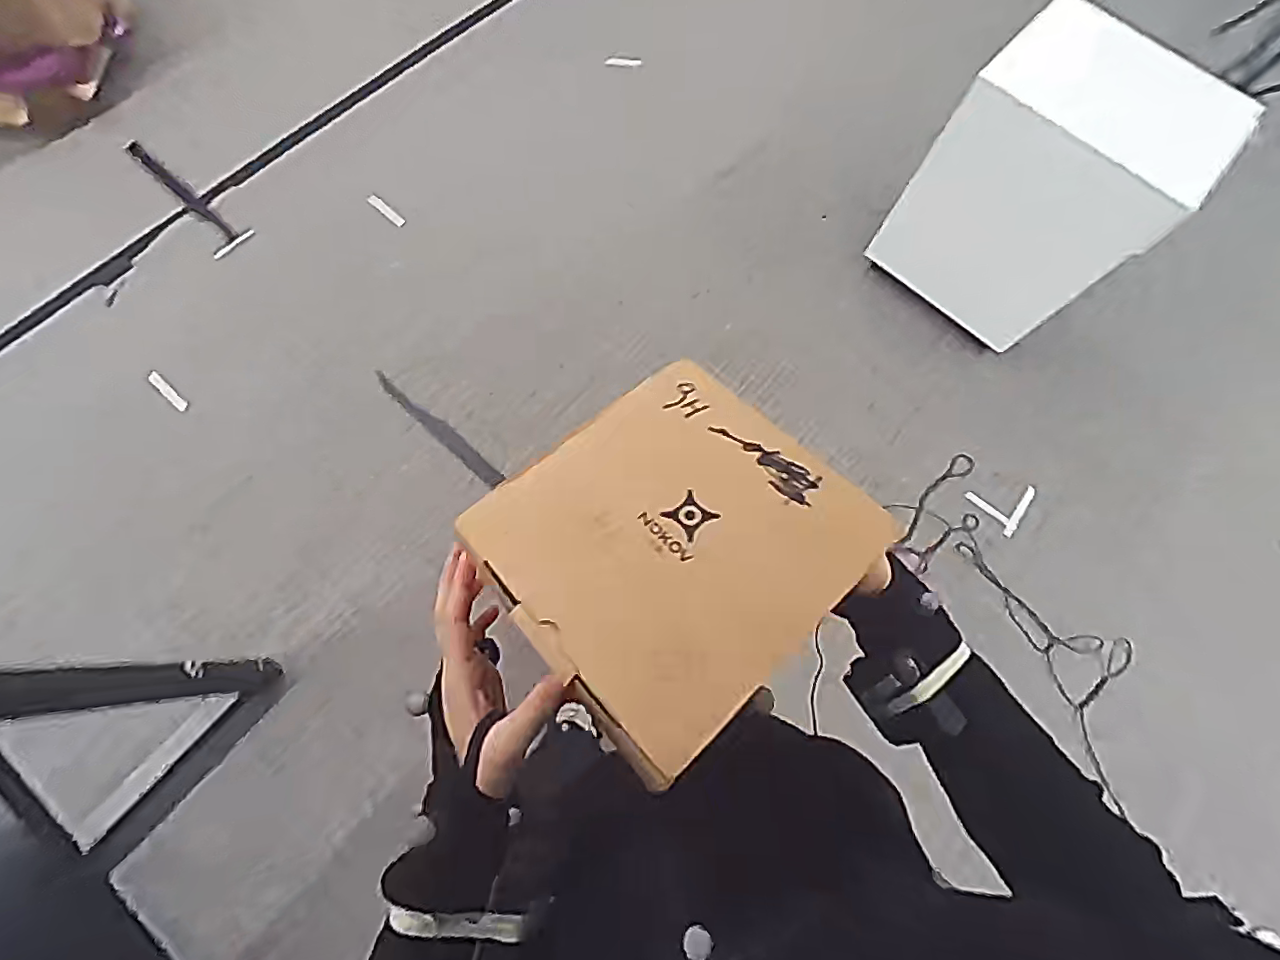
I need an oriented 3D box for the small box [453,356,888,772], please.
[{"bbox_3d":[0.018,0.062,0.354,0.179,0.176,0.168,-39,65,-20],"label":"small box"}]
